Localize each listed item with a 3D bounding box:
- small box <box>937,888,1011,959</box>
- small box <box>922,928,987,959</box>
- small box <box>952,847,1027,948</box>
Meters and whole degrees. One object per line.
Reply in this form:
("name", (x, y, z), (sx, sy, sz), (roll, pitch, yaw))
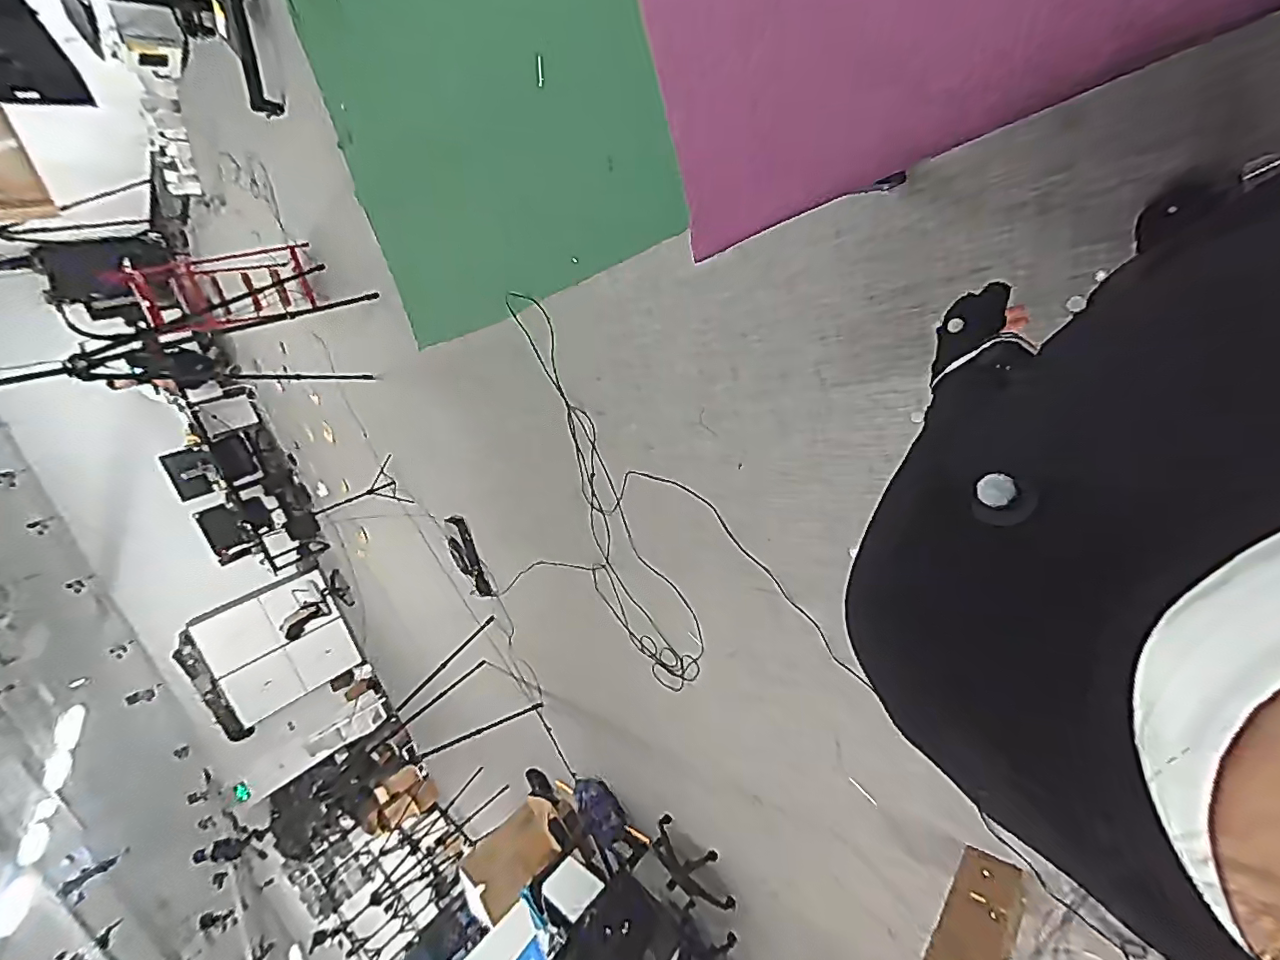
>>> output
("small box", (1.066, 1.465, 1.725), (0.168, 0.176, 0.179), (2, 114, 46))
("small box", (0.950, 1.525, 1.628), (0.168, 0.176, 0.179), (8, 118, 44))
("small box", (1.181, 1.398, 1.826), (0.168, 0.176, 0.179), (-1, 110, 50))
